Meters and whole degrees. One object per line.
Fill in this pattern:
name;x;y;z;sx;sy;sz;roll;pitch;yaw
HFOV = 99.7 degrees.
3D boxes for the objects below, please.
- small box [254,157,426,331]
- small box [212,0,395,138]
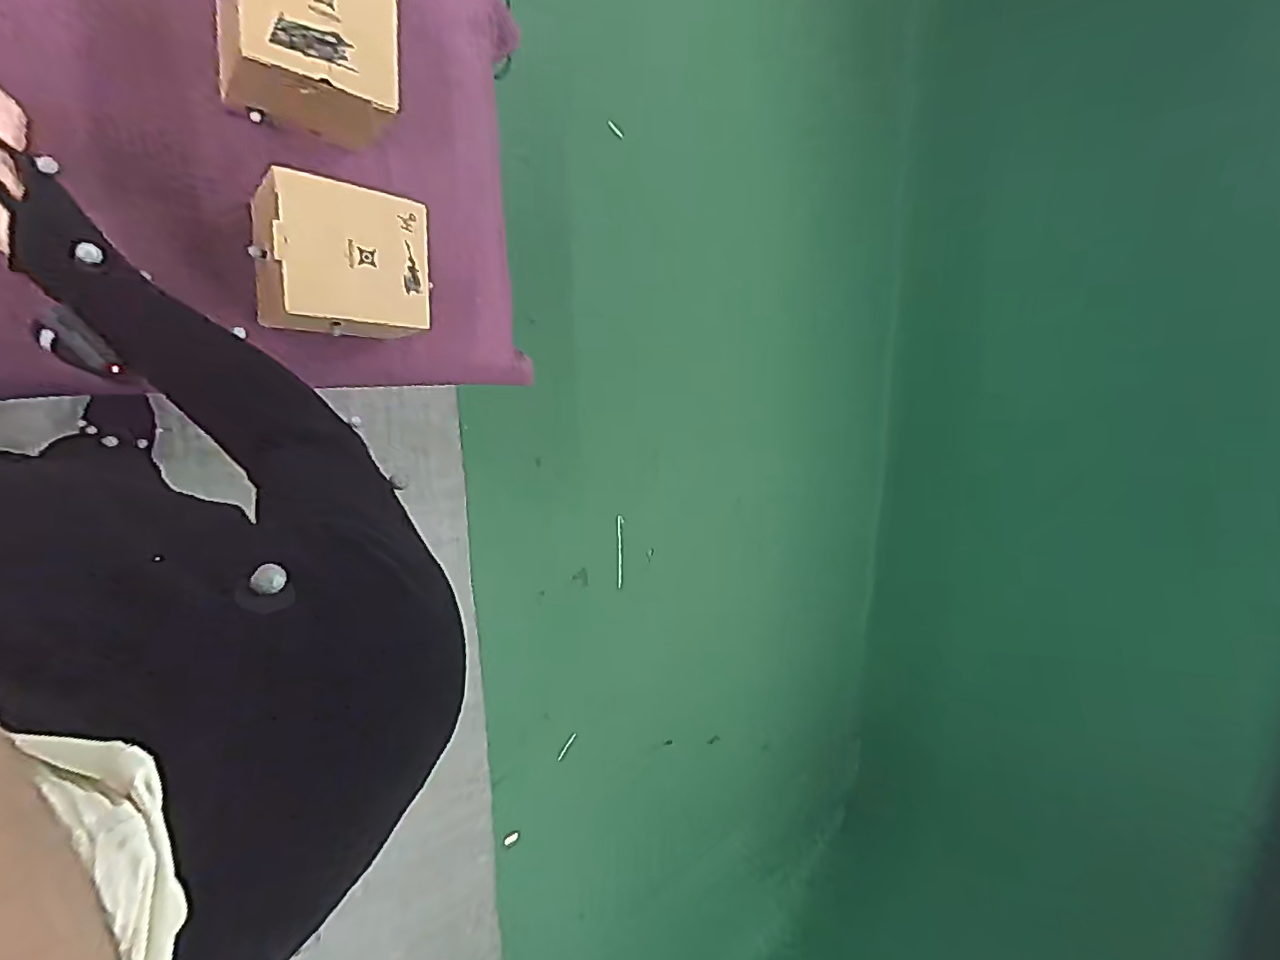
small box;-0.407;-0.298;0.730;0.179;0.176;0.168;-6;101;-42
small box;-0.417;-0.563;0.670;0.168;0.176;0.179;-5;101;-43
